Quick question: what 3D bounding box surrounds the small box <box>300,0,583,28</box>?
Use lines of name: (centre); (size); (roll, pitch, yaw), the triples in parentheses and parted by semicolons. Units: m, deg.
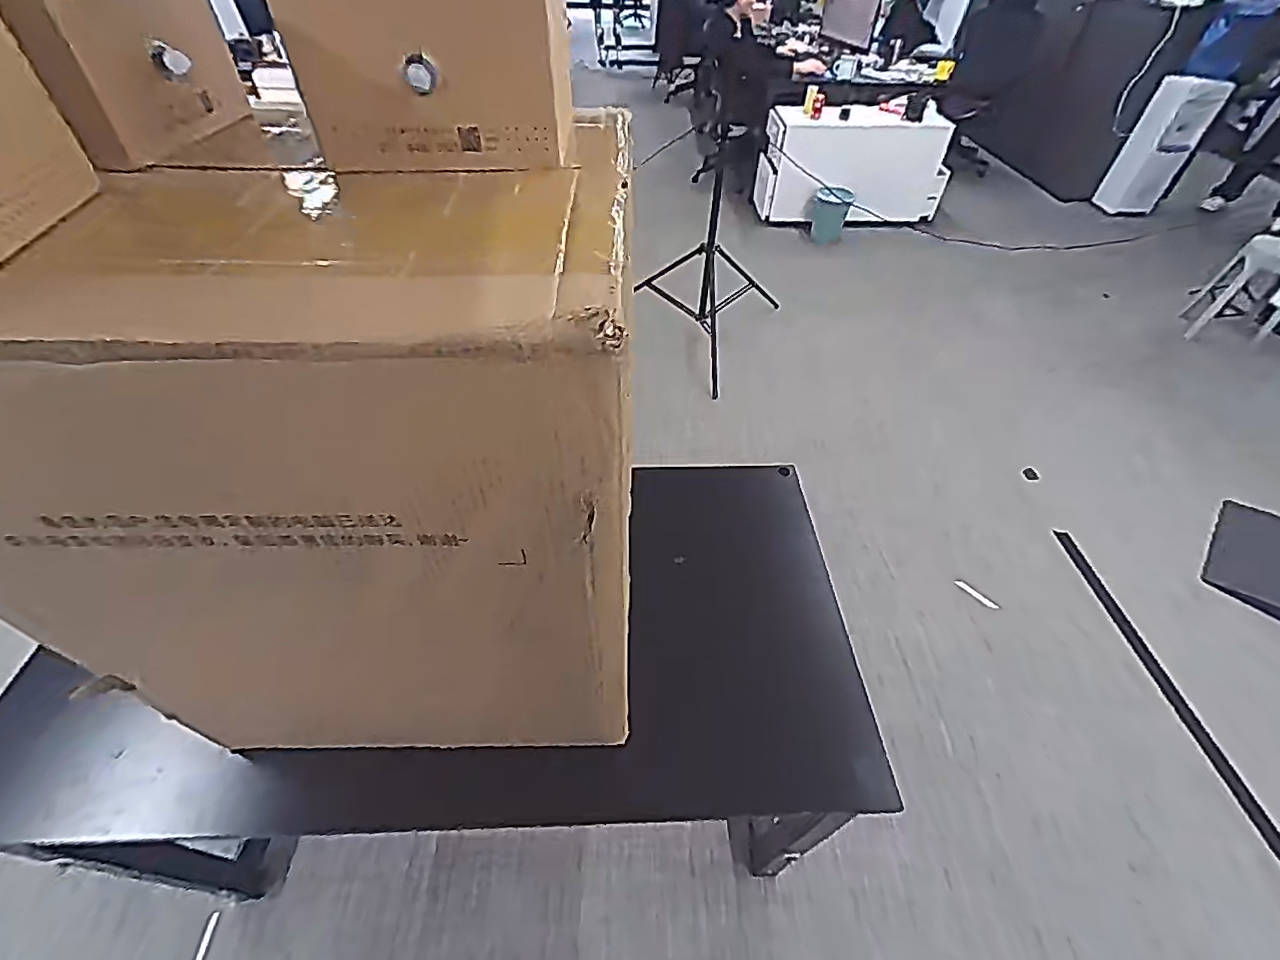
small box: (-0.118, -0.377, 0.306); (0.168, 0.176, 0.179); (-2, 45, -2)

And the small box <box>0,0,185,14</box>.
small box: (-0.404, -0.366, 0.287); (0.179, 0.176, 0.168); (1, 46, -3)
